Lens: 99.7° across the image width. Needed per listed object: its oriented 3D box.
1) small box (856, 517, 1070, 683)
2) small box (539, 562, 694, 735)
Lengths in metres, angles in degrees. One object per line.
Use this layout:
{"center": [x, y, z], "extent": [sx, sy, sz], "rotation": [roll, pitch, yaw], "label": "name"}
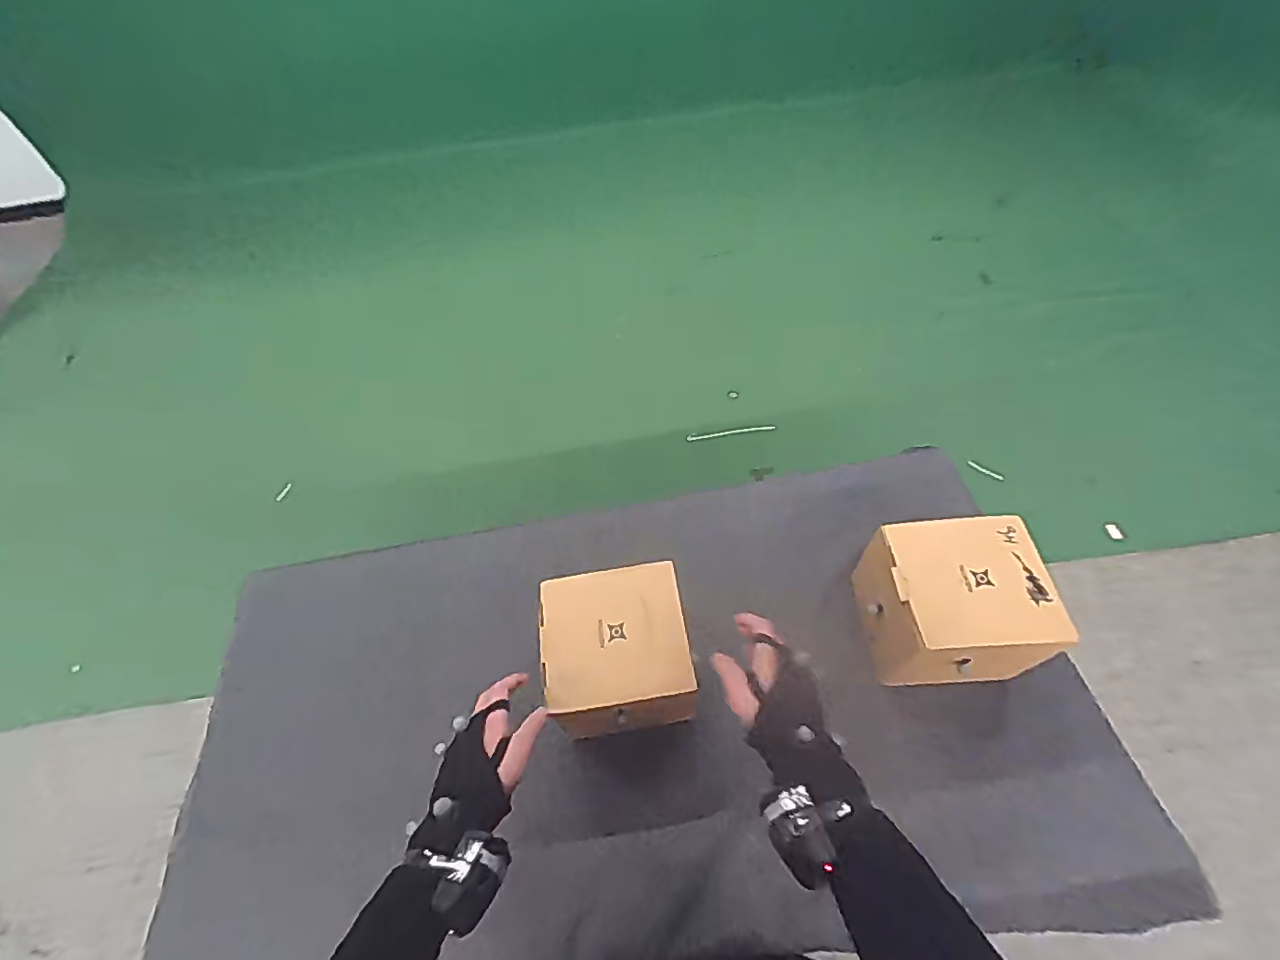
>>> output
{"center": [0.402, 0.165, 0.720], "extent": [0.179, 0.176, 0.168], "rotation": [-4, 56, 3], "label": "small box"}
{"center": [-0.029, 0.229, 0.720], "extent": [0.179, 0.176, 0.168], "rotation": [-9, 57, -2], "label": "small box"}
